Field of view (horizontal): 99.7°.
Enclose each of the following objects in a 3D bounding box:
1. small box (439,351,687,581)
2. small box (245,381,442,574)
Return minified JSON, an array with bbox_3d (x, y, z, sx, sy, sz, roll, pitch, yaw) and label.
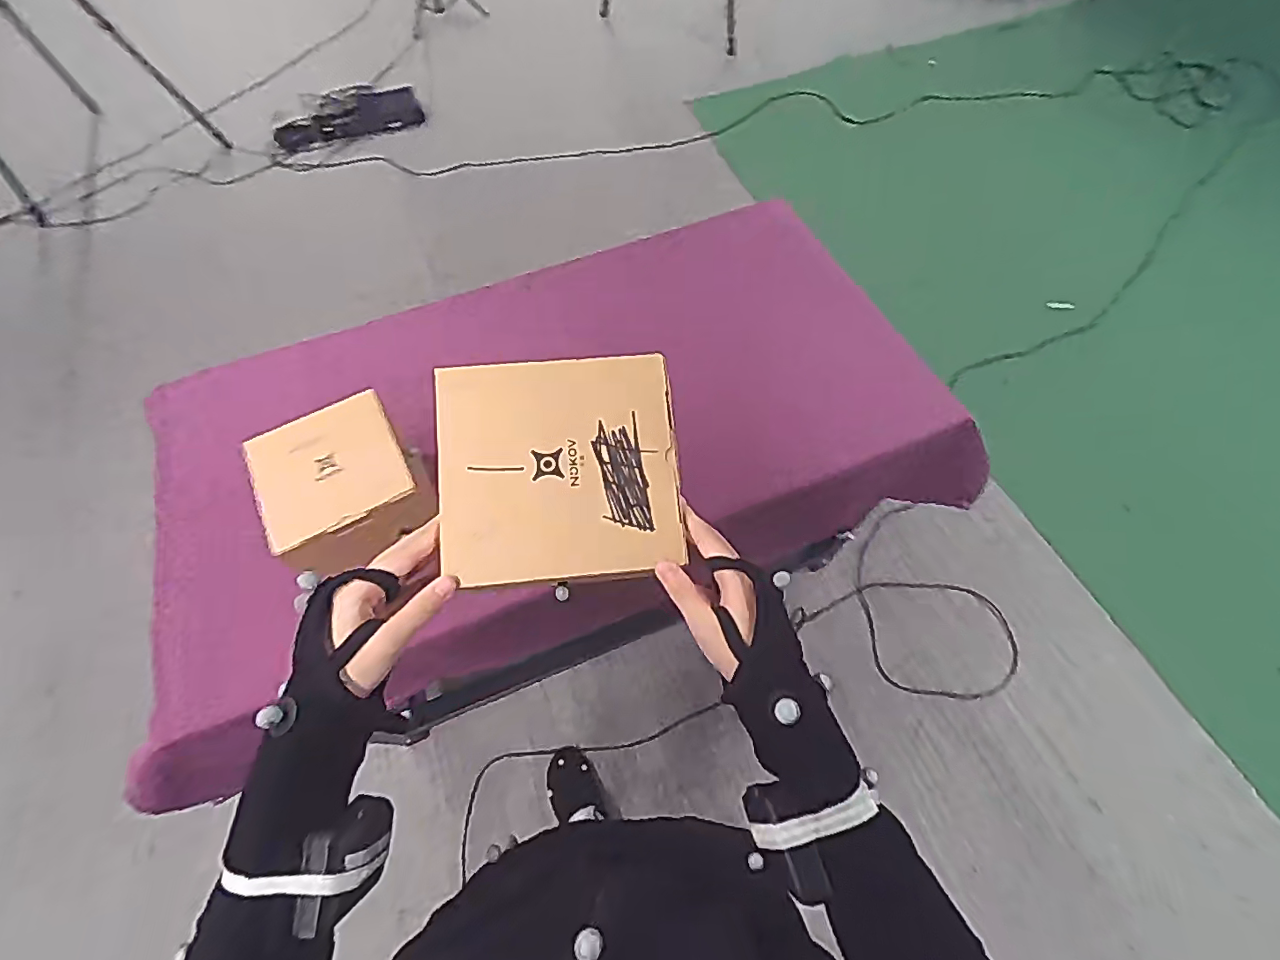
[{"bbox_3d":[-0.063,-0.002,0.474,0.179,0.176,0.168,-4,80,-4],"label":"small box"},{"bbox_3d":[-0.378,0.008,0.725,0.168,0.176,0.179,-27,64,-13],"label":"small box"}]
